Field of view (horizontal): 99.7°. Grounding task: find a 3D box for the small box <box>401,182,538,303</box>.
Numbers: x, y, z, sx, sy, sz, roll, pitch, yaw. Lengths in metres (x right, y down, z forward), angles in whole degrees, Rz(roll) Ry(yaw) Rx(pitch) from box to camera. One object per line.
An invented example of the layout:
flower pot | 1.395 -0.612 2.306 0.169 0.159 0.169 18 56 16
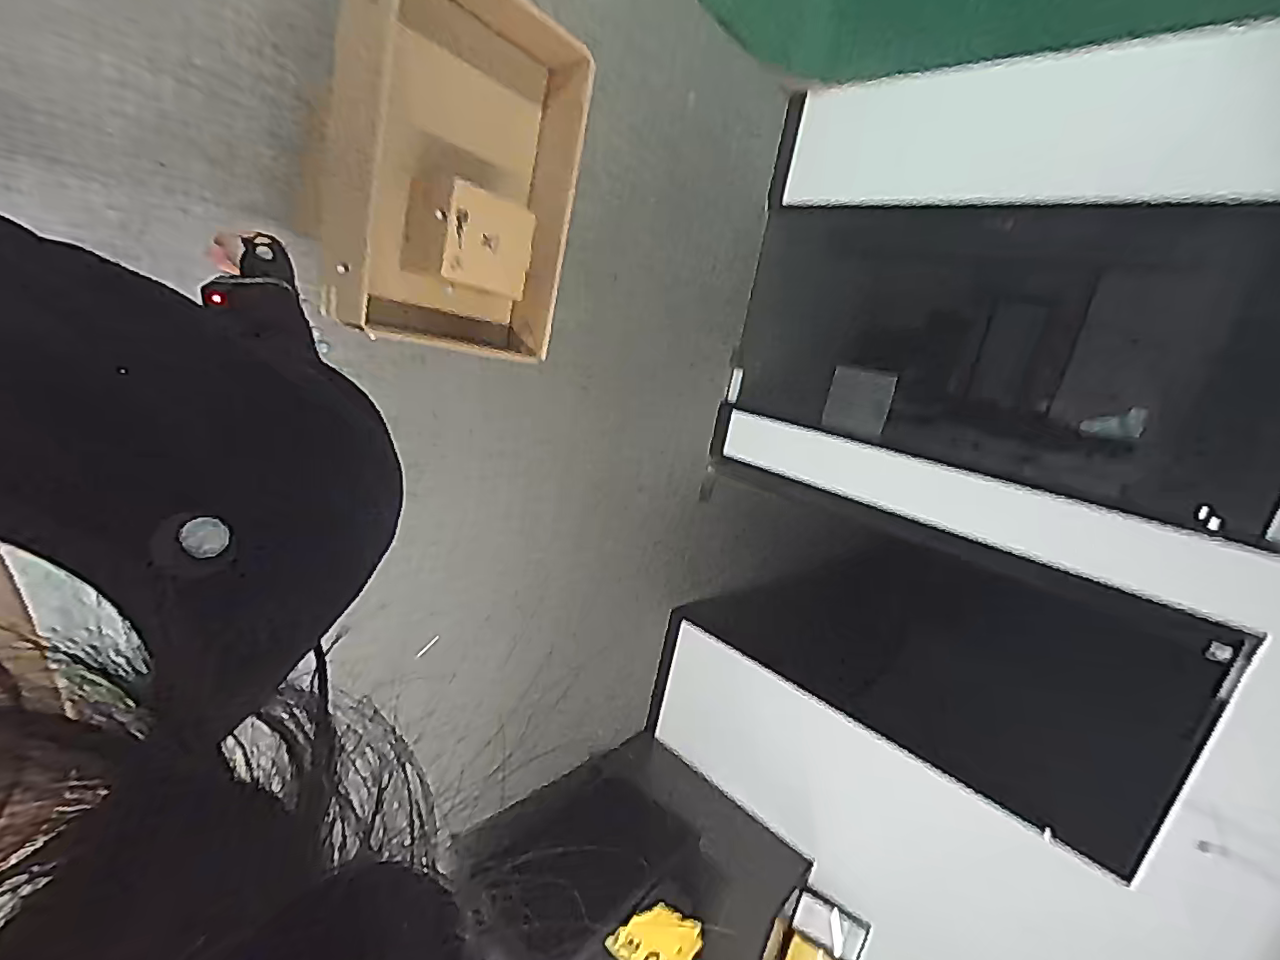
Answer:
small box | -0.328 -0.451 1.039 0.179 0.176 0.168 0 106 -51
